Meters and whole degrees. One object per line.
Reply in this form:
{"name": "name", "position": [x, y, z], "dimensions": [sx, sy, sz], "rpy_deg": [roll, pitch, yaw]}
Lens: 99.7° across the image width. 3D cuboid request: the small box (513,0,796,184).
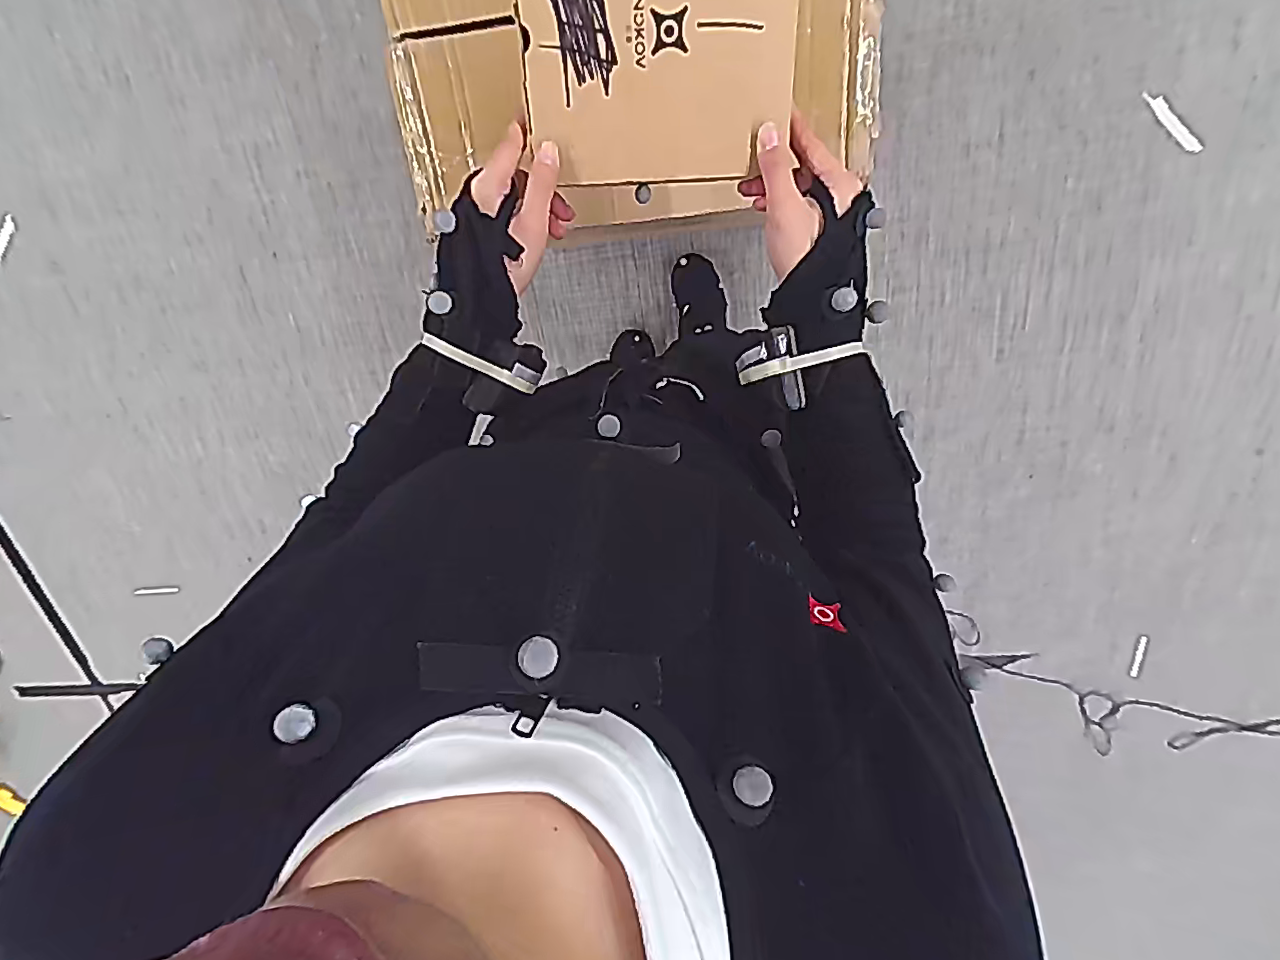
{"name": "small box", "position": [0.011, -0.319, 0.404], "dimensions": [0.179, 0.176, 0.168], "rpy_deg": [-1, 118, 2]}
